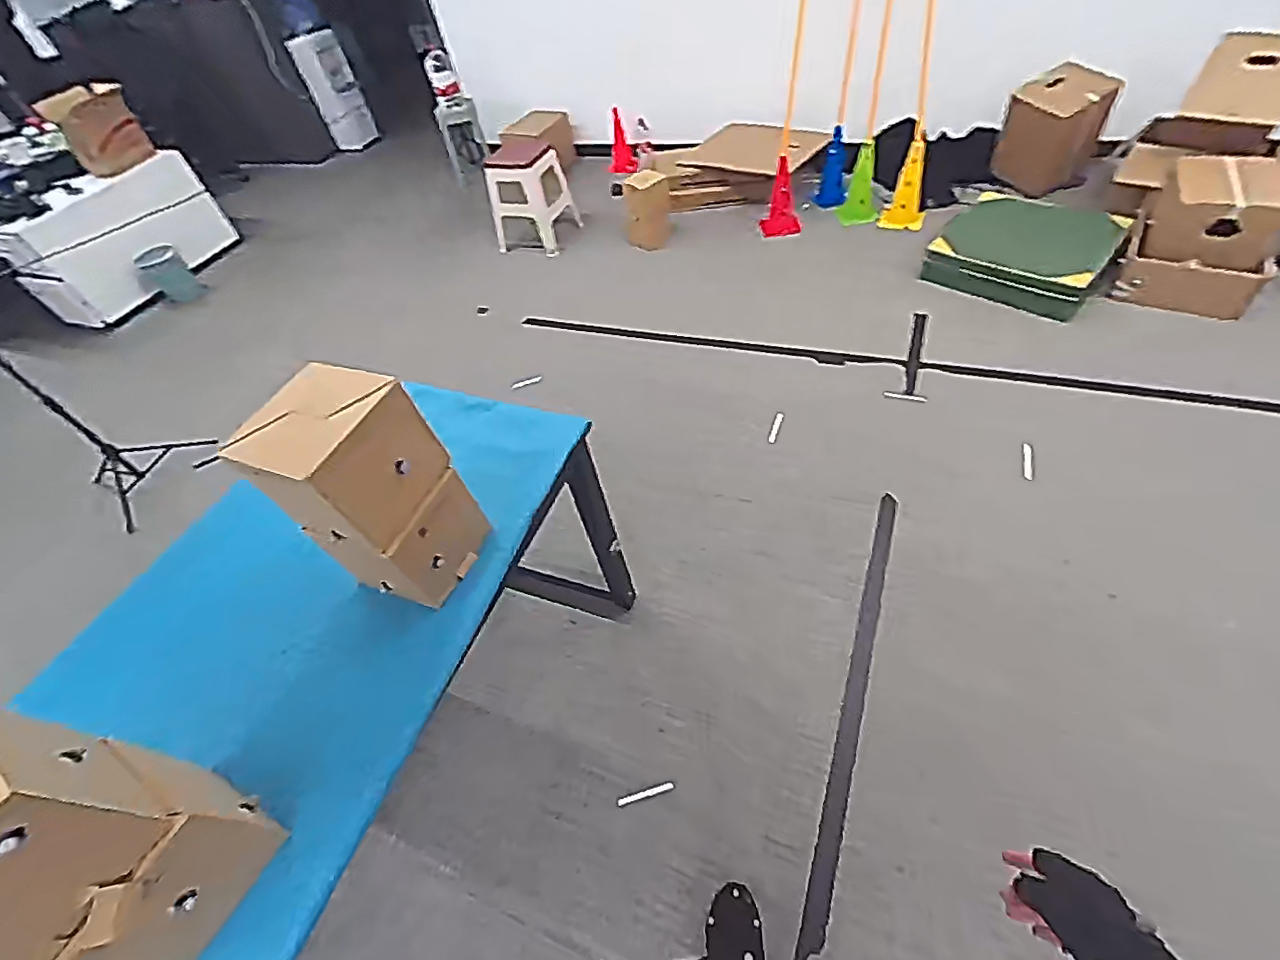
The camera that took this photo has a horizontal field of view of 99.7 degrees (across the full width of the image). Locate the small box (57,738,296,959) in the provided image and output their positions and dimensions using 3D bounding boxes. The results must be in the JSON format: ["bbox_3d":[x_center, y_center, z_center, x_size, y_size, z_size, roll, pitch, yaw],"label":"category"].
[{"bbox_3d":[-0.556,0.426,0.614,0.179,0.176,0.168,17,55,22],"label":"small box"}]

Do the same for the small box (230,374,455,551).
[{"bbox_3d":[-0.399,-0.032,0.750,0.168,0.176,0.179,12,57,22],"label":"small box"}]

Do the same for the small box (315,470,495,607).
[{"bbox_3d":[-0.371,0.077,0.870,0.179,0.176,0.168,11,54,20],"label":"small box"}]

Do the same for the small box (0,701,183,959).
[{"bbox_3d":[-0.592,0.325,0.488,0.179,0.176,0.168,21,57,23],"label":"small box"}]
